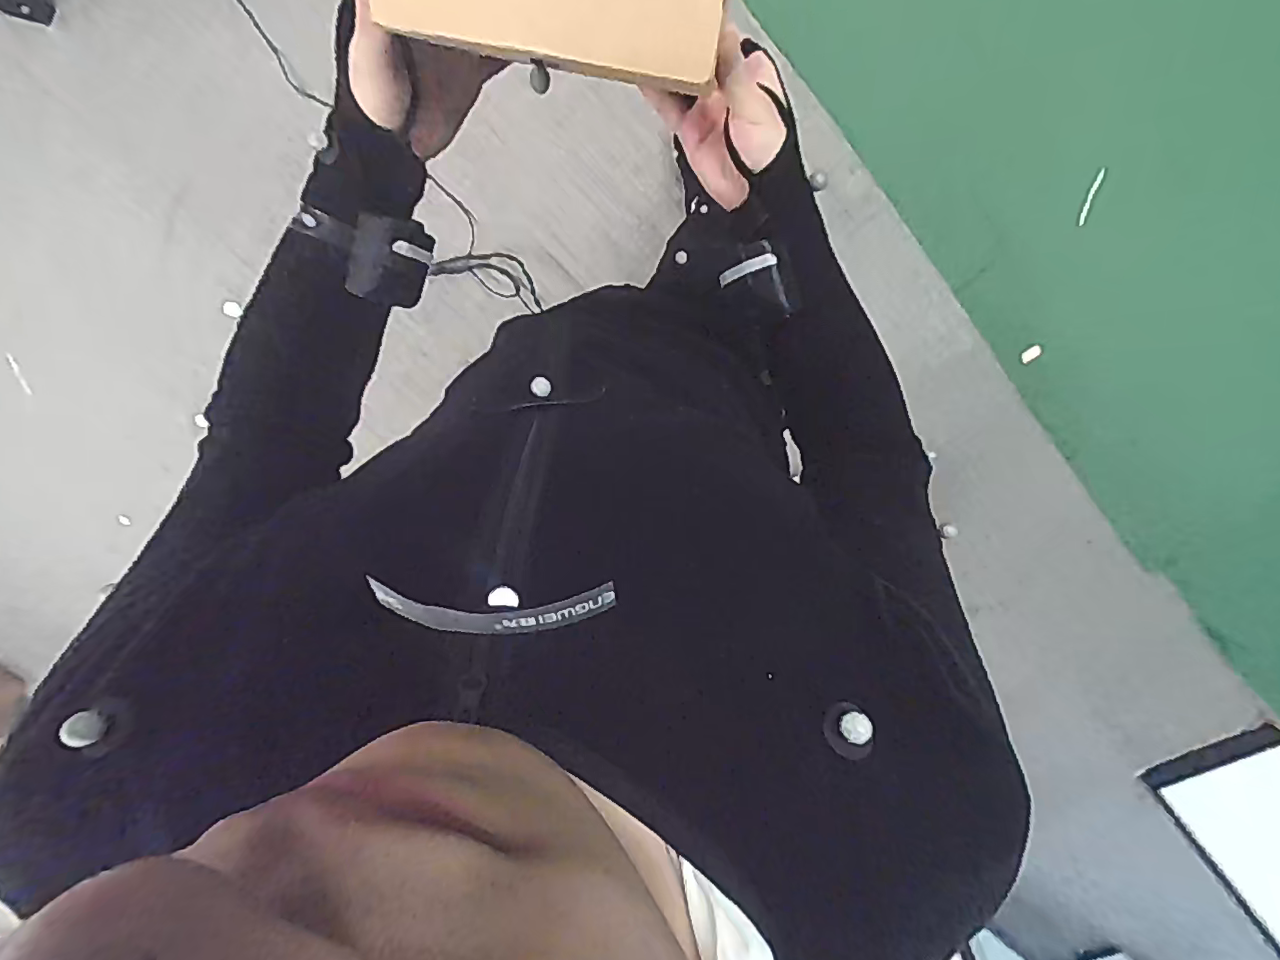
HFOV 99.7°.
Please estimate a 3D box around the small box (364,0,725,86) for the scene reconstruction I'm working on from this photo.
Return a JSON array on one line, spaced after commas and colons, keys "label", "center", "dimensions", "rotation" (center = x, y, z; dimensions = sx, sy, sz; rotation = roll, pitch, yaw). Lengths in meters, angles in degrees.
[{"label": "small box", "center": [-0.033, -0.328, 0.294], "dimensions": [0.179, 0.176, 0.168], "rotation": [10, 125, 1]}]
